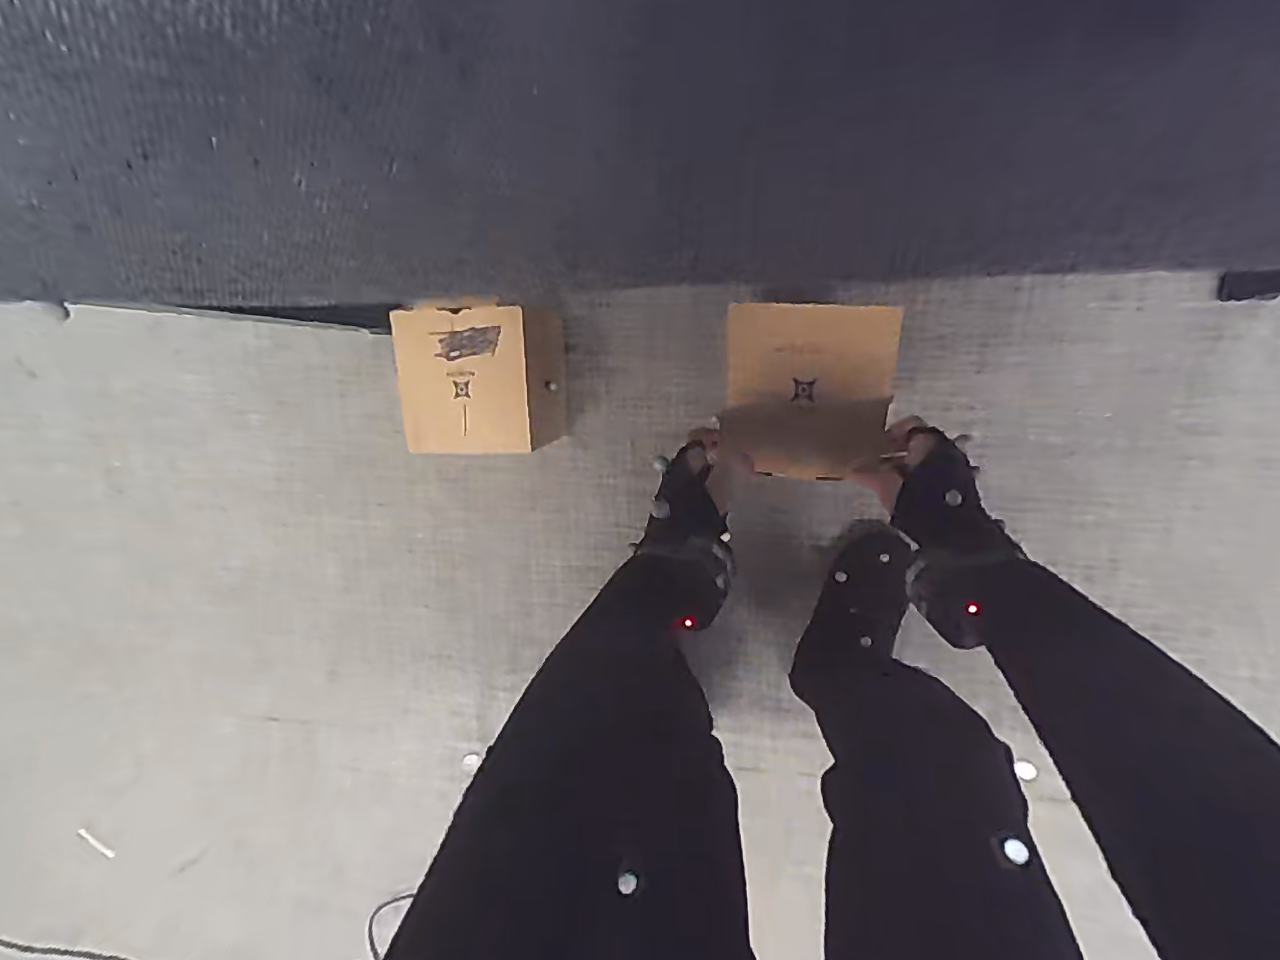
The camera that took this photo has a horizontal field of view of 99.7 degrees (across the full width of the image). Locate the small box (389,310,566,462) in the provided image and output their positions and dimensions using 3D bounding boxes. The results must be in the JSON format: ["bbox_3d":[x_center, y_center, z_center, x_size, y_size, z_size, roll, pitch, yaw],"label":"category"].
[{"bbox_3d":[-0.201,-0.123,0.717,0.168,0.176,0.179,0,102,9],"label":"small box"}]
